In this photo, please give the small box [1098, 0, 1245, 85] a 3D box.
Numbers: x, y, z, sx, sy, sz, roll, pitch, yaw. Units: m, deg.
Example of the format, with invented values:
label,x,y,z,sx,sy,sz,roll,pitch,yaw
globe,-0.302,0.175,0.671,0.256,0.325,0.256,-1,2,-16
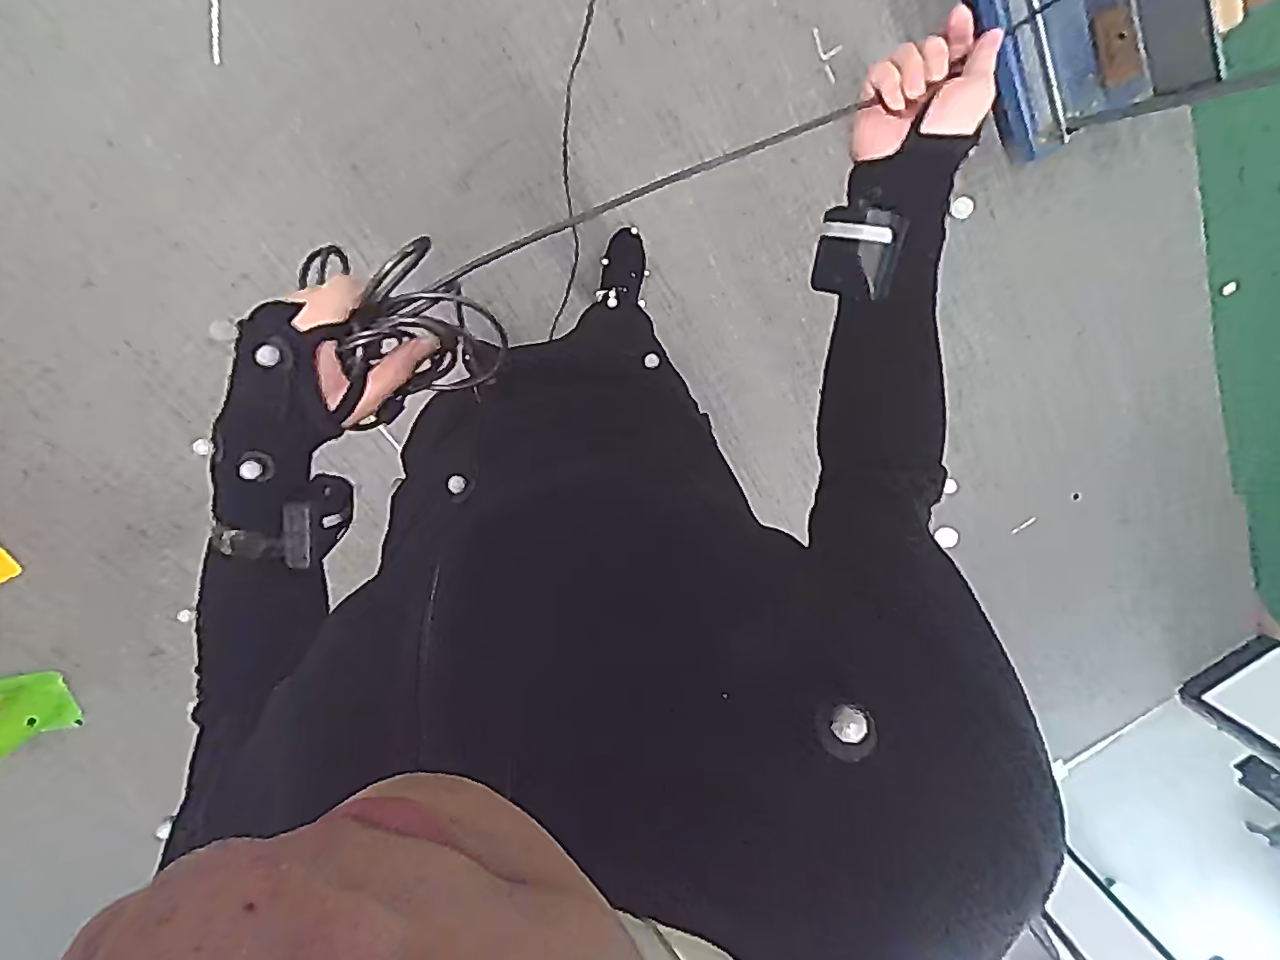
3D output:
label,x,y,z,sx,sy,sz,roll,pitch,yaw
small box,1.229,-1.070,1.257,0.179,0.176,0.168,-33,112,3
